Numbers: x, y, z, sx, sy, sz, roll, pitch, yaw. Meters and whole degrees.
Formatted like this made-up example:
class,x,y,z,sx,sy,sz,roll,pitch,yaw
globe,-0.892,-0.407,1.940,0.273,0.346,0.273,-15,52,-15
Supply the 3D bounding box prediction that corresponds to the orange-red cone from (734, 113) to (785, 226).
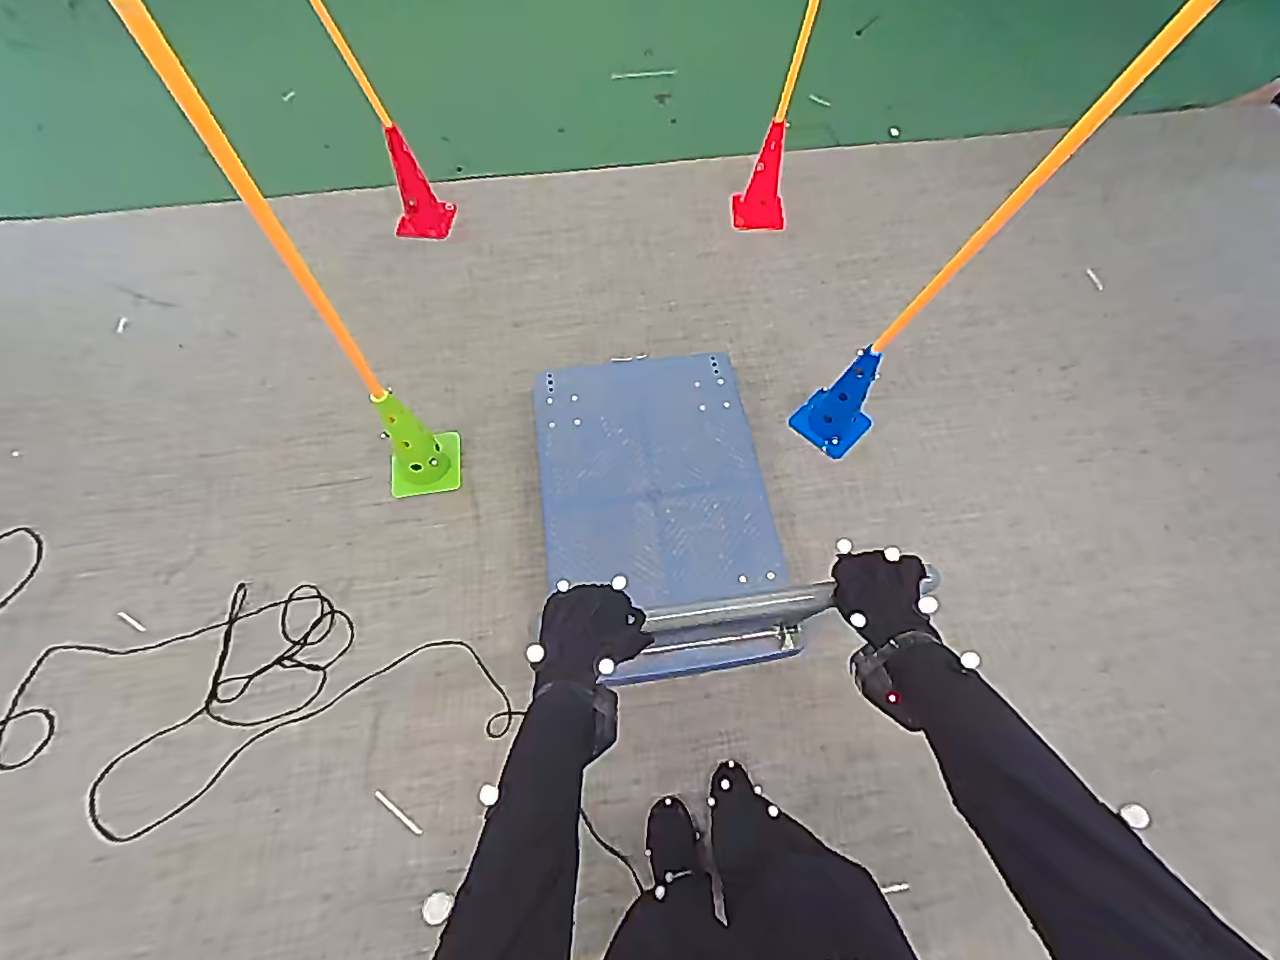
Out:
class,x,y,z,sx,sy,sz,roll,pitch,yaw
orange-red cone,0.465,-1.136,1.963,0.198,0.360,0.199,2,65,2
